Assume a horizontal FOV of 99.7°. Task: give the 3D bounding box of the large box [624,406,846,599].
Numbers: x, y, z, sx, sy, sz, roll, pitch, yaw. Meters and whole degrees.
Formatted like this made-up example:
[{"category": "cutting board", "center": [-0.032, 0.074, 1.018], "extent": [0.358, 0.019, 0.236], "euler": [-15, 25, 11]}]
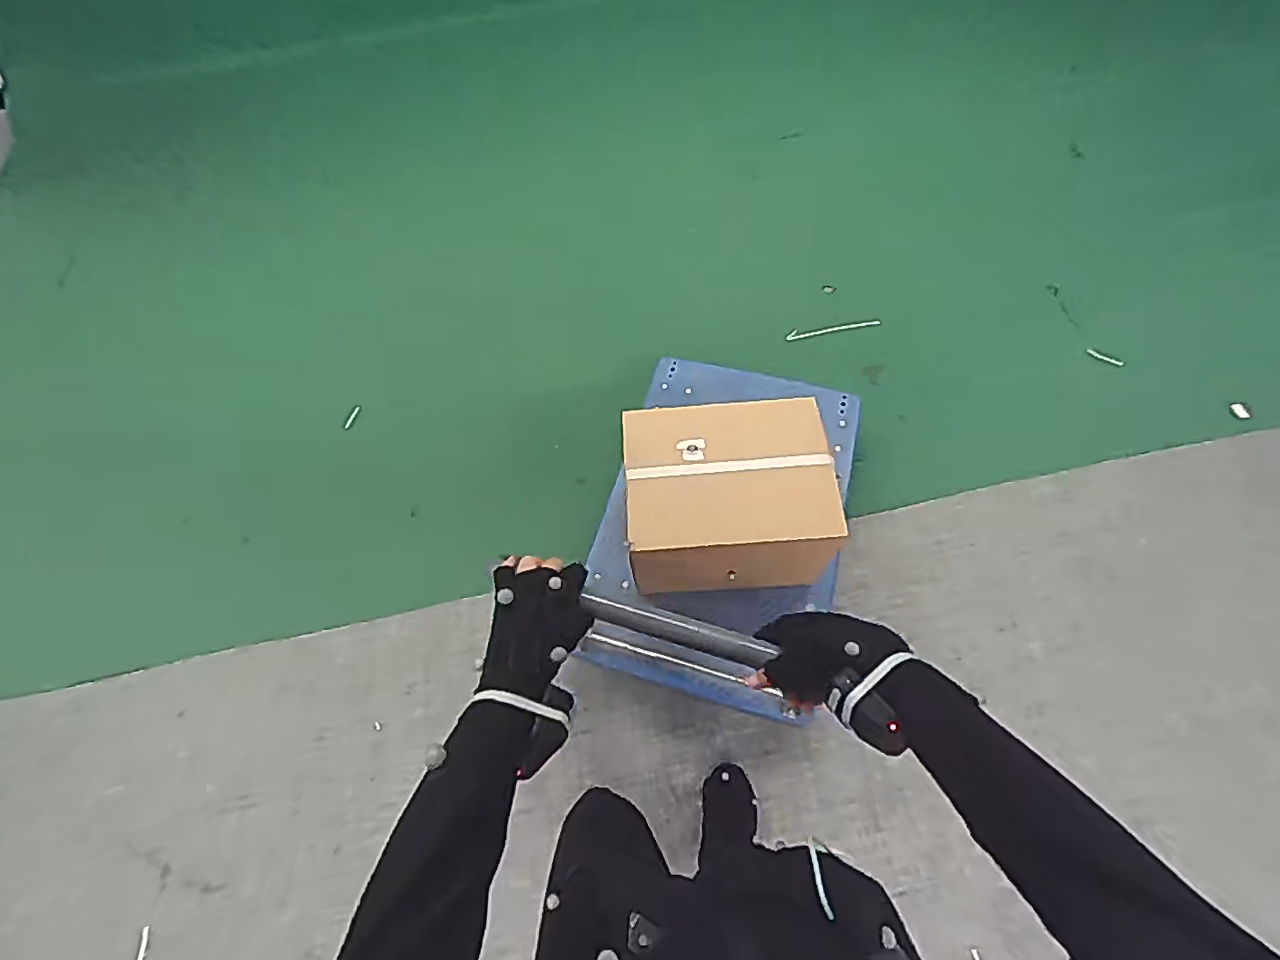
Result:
[{"category": "large box", "center": [0.185, 0.064, 1.193], "extent": [0.408, 0.320, 0.320], "euler": [-4, 62, 3]}]
